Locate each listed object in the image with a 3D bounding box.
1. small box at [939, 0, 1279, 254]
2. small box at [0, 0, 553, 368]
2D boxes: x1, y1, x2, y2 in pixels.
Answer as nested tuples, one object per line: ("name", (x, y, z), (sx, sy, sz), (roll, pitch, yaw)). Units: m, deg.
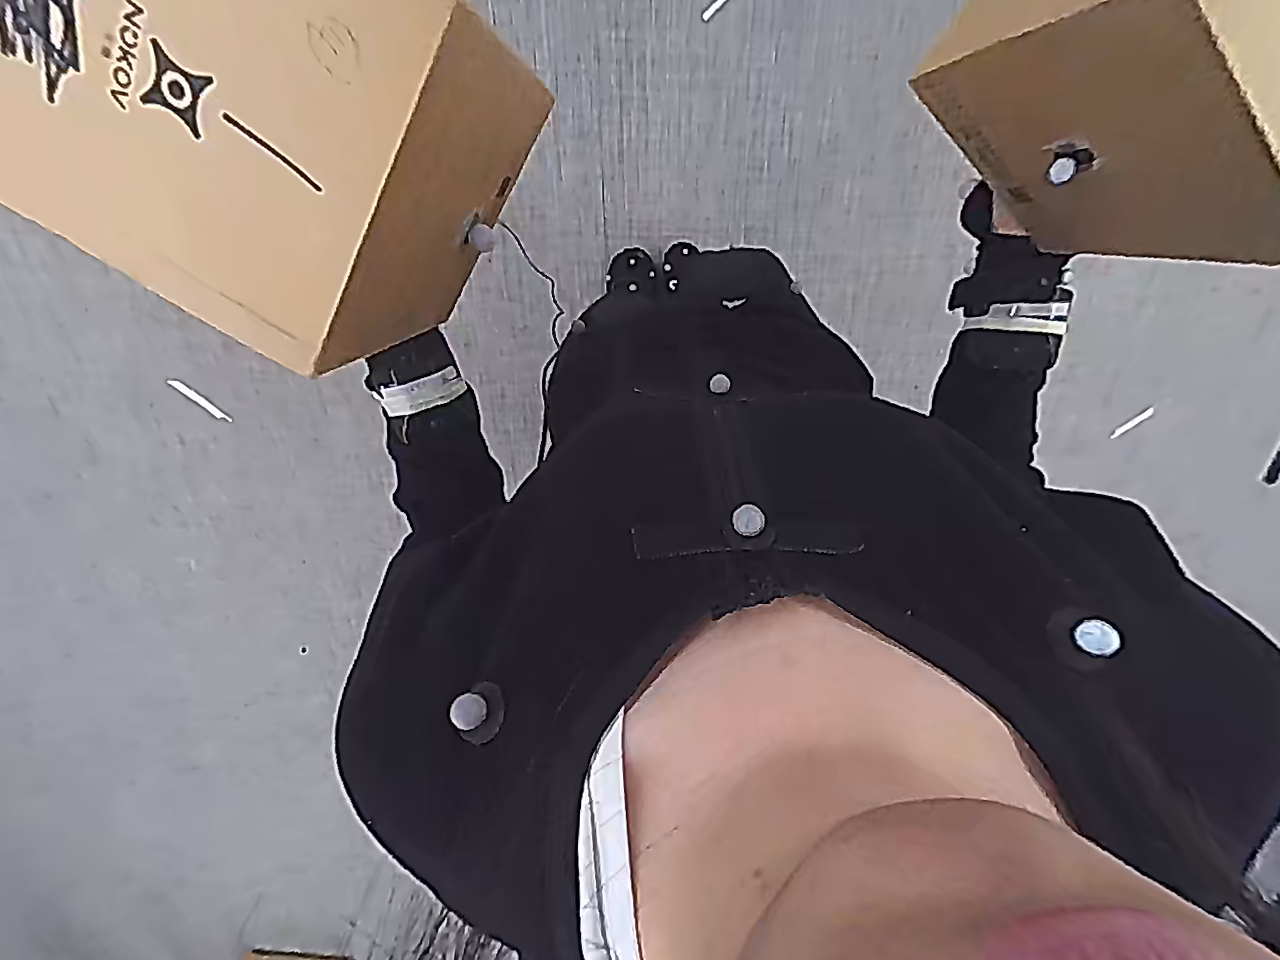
("small box", (0.290, -0.238, 0.270), (0.168, 0.176, 0.179), (32, 106, -22))
("small box", (-0.168, -0.187, 0.272), (0.179, 0.176, 0.168), (32, 114, -12))
